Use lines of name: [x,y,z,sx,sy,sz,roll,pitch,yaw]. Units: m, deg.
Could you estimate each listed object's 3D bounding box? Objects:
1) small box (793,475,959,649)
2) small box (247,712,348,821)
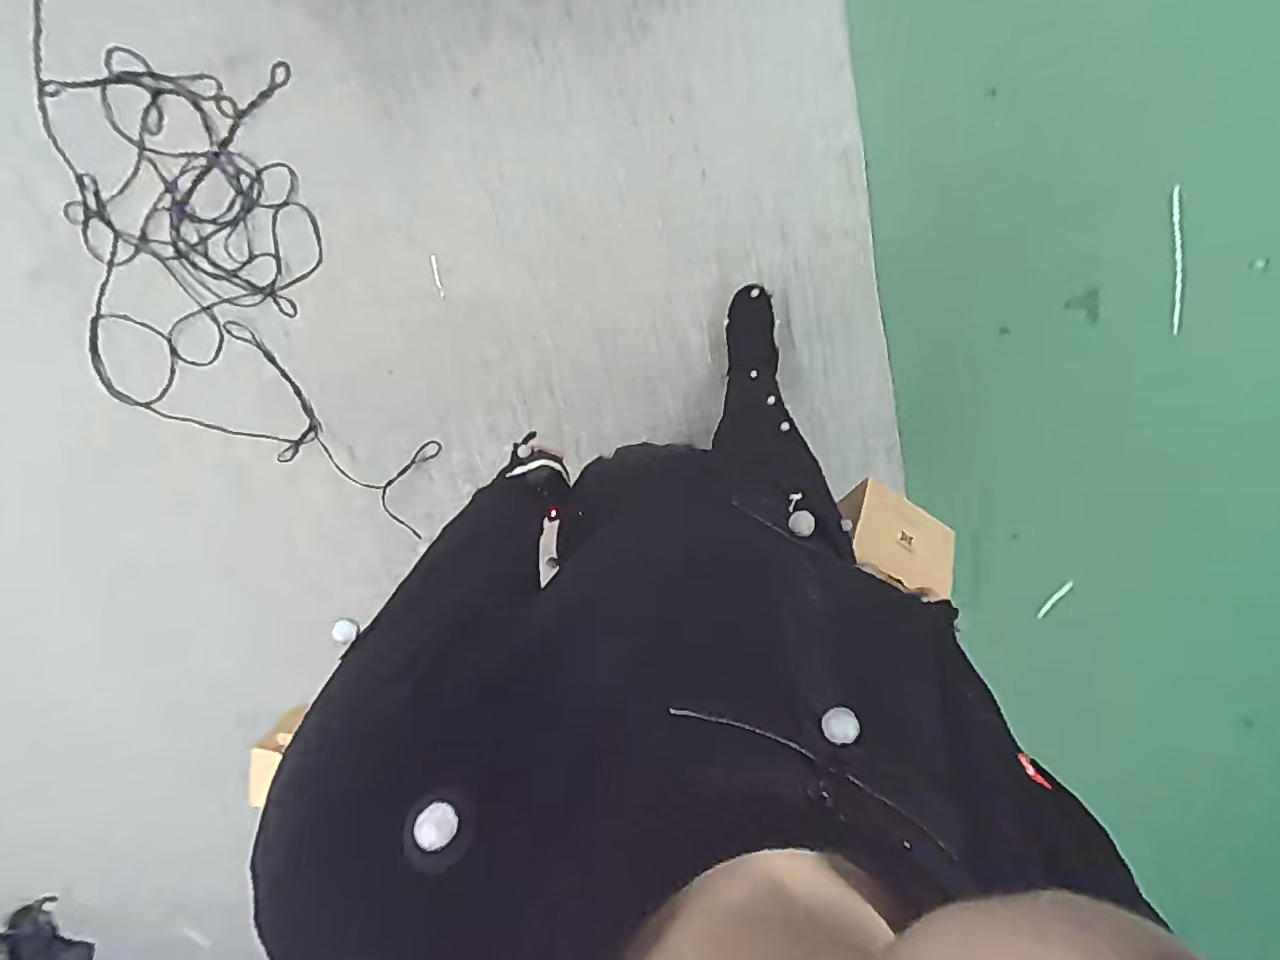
small box: [0.364,0.133,0.848,0.168,0.179,0.176,33,138,1]
small box: [-0.902,0.754,1.435,0.168,0.176,0.179,8,101,1]
